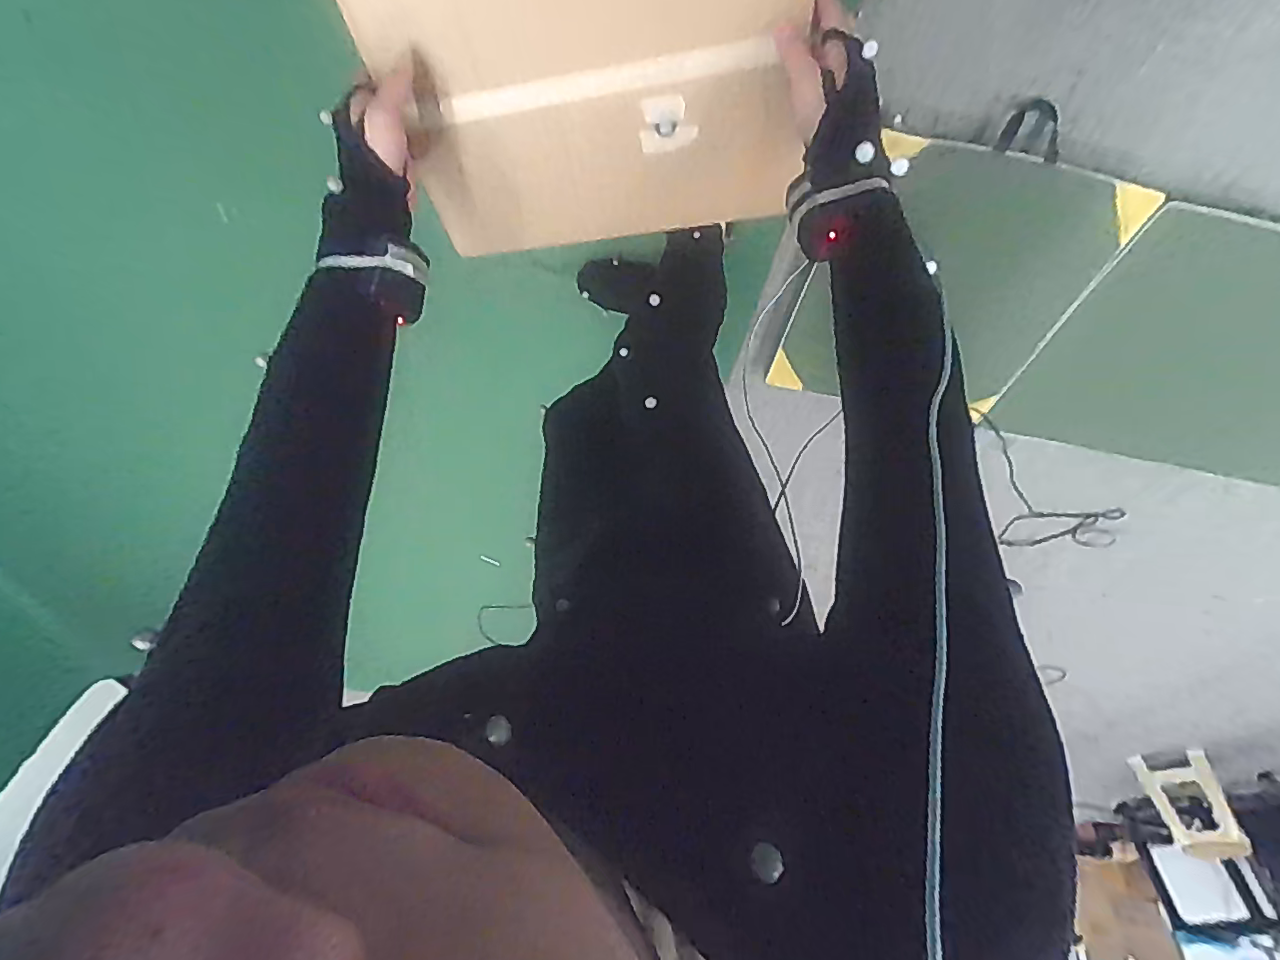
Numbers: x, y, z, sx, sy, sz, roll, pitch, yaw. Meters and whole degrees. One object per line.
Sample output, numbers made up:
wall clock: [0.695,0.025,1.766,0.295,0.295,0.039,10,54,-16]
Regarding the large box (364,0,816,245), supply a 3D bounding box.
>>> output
large box: [-0.035,-0.514,0.606,0.408,0.320,0.320,-5,144,8]
